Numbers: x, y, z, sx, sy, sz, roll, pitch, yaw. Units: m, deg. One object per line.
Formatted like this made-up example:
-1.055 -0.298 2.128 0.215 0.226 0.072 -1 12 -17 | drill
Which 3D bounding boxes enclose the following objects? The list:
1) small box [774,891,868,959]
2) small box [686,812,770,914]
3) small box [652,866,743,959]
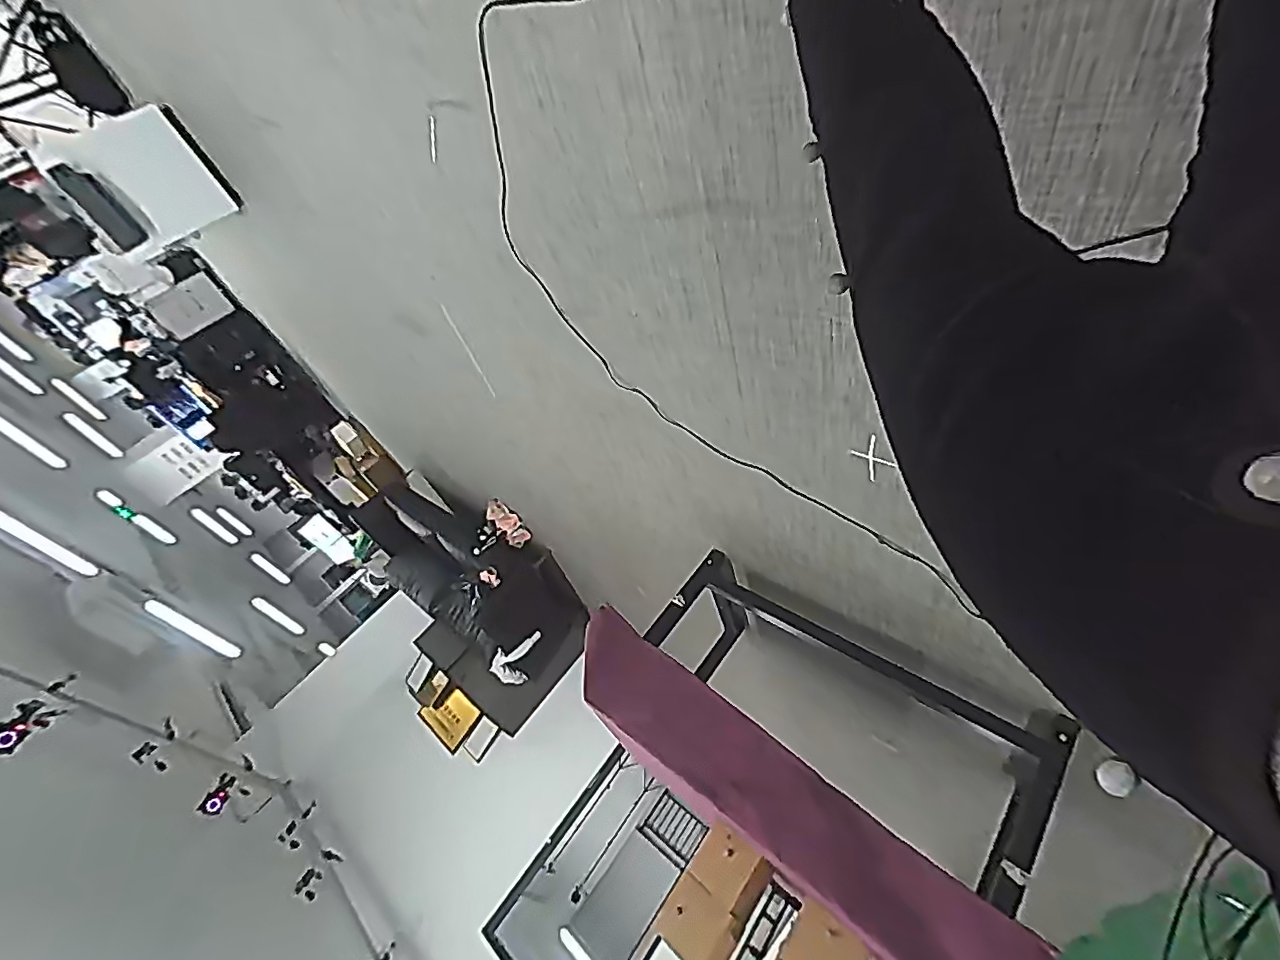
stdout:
0.486 1.242 1.446 0.179 0.176 0.168 22 149 39 | small box
0.272 1.153 1.635 0.168 0.176 0.179 18 145 43 | small box
0.171 1.260 1.565 0.179 0.176 0.168 19 147 42 | small box
